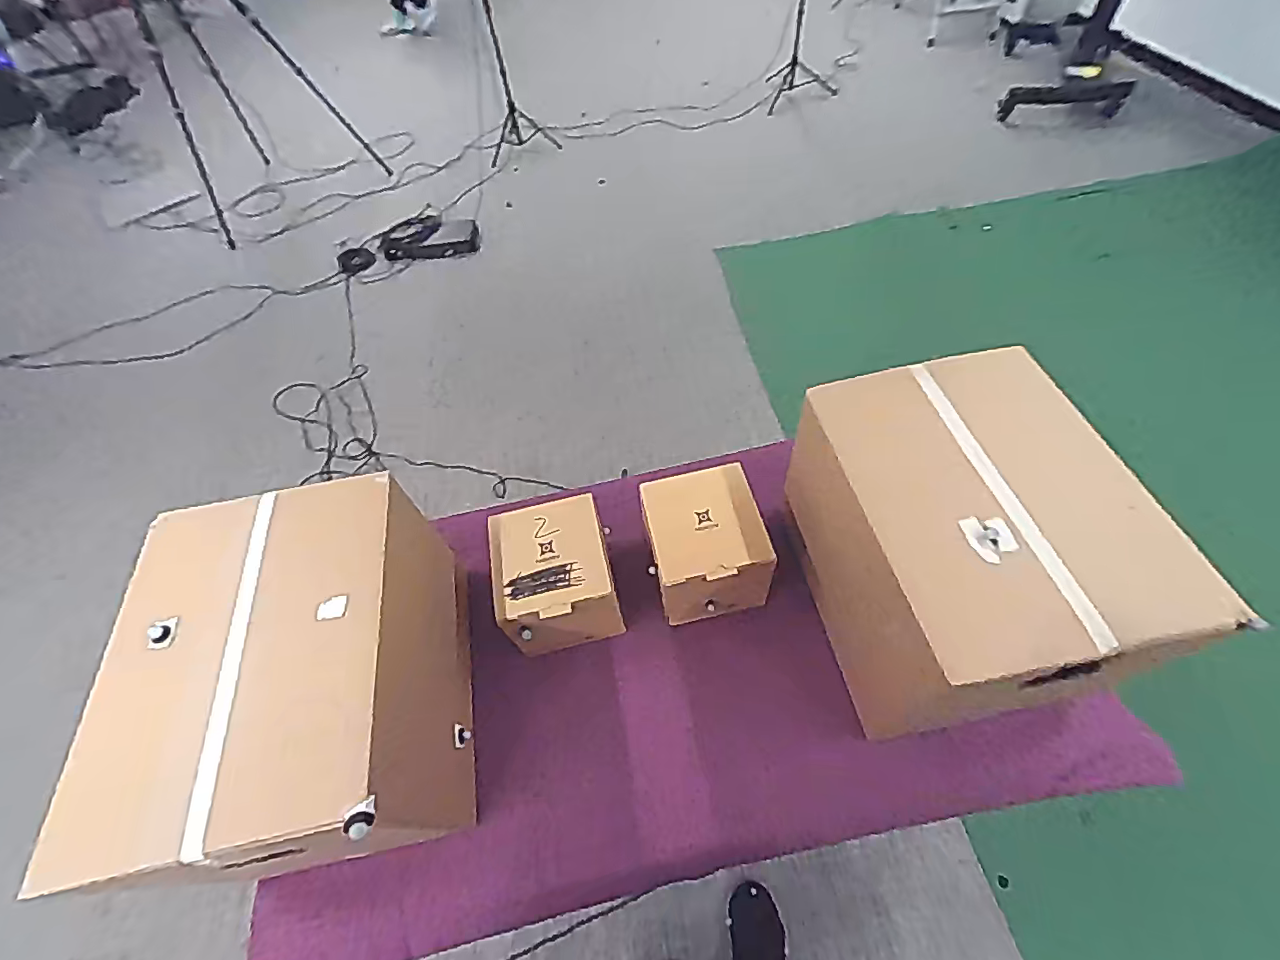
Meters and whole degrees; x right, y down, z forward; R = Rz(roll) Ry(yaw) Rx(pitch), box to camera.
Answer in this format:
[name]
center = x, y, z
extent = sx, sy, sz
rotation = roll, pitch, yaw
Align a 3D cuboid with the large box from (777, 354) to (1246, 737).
[large box]
center = 0.422, 0.093, 0.757
extent = 0.320, 0.320, 0.408
rotation = -12, 56, -2
